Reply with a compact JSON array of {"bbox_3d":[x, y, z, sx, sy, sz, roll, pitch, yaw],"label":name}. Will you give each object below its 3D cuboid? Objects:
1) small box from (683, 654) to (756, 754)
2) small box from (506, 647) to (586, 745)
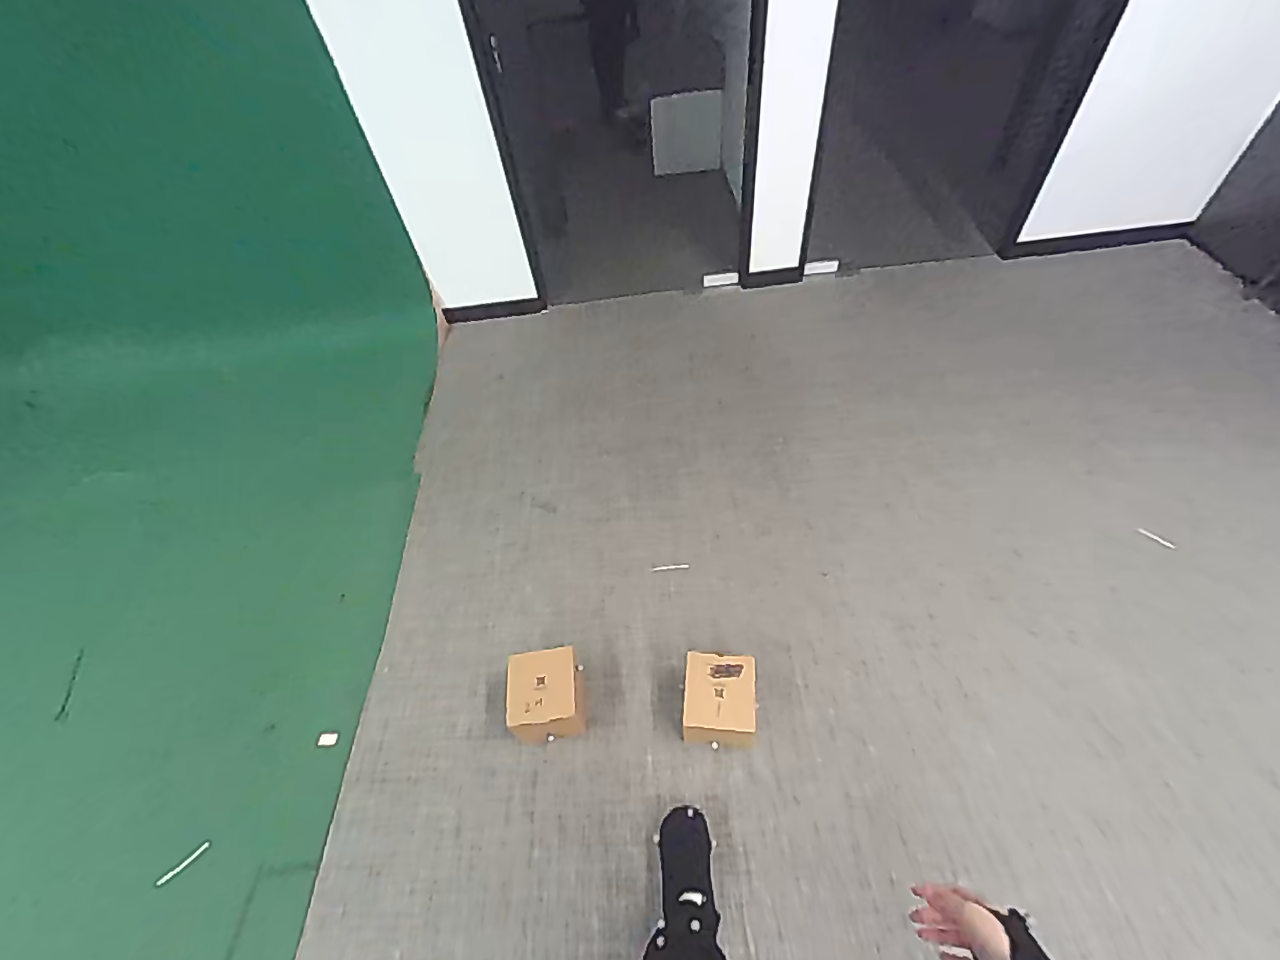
[{"bbox_3d":[0.193,0.546,1.319,0.168,0.176,0.179,3,52,9],"label":"small box"},{"bbox_3d":[-0.232,0.547,1.365,0.168,0.176,0.179,-8,51,0],"label":"small box"}]
